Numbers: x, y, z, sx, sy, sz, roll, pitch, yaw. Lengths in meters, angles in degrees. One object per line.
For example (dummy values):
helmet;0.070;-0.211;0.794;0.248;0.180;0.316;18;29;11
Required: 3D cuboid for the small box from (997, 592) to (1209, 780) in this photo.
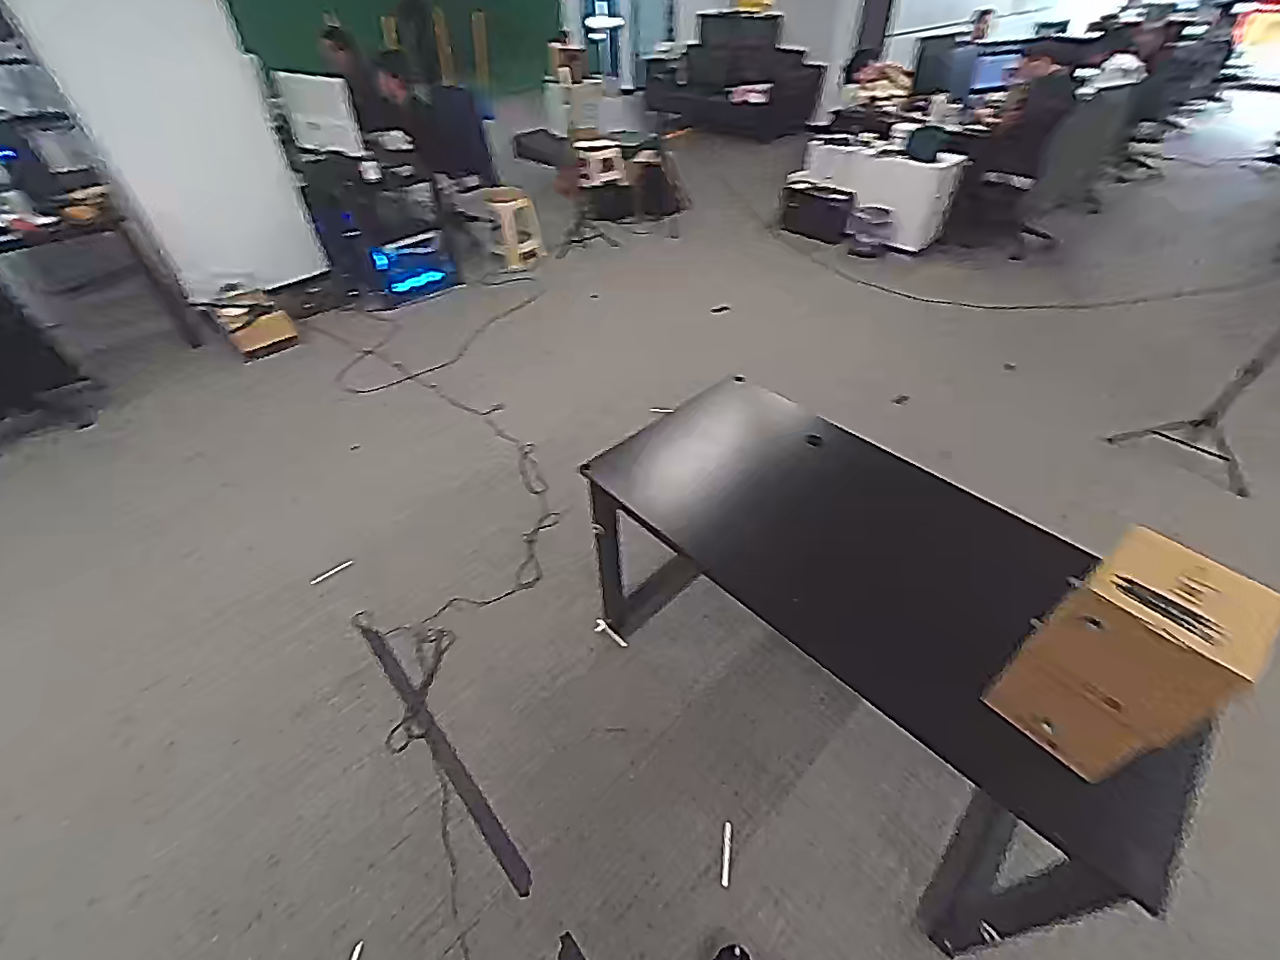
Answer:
small box;0.694;0.314;0.830;0.179;0.176;0.168;-29;49;-26
